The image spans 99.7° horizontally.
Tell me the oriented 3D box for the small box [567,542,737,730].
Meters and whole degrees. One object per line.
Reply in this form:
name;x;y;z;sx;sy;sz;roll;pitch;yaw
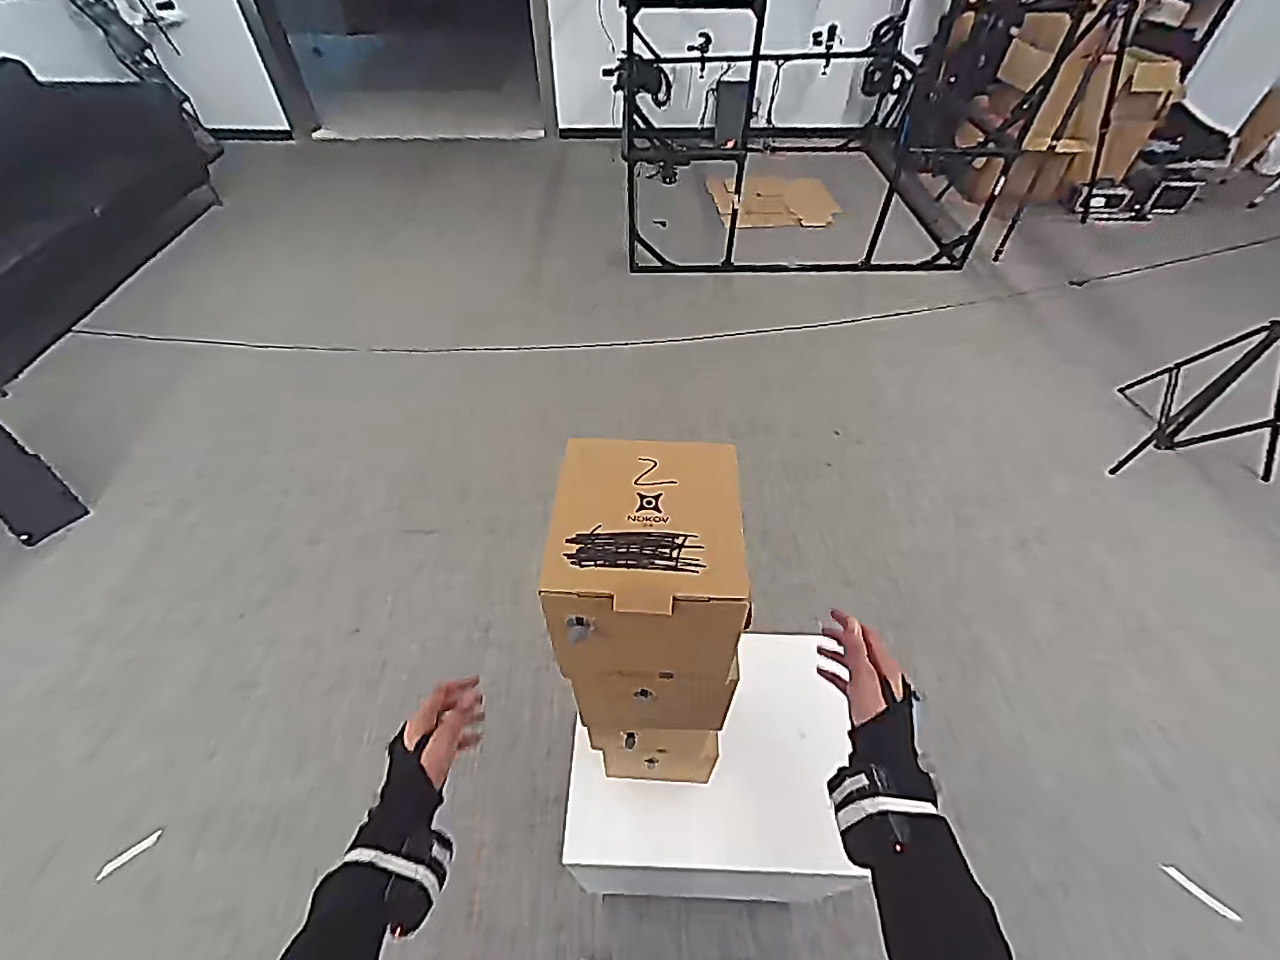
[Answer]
small box;0.016;0.192;0.658;0.179;0.176;0.168;2;49;1

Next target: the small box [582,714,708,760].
small box;0.016;0.291;0.790;0.168;0.176;0.179;4;48;3

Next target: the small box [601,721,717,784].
small box;0.033;0.399;0.911;0.179;0.176;0.168;4;49;1
